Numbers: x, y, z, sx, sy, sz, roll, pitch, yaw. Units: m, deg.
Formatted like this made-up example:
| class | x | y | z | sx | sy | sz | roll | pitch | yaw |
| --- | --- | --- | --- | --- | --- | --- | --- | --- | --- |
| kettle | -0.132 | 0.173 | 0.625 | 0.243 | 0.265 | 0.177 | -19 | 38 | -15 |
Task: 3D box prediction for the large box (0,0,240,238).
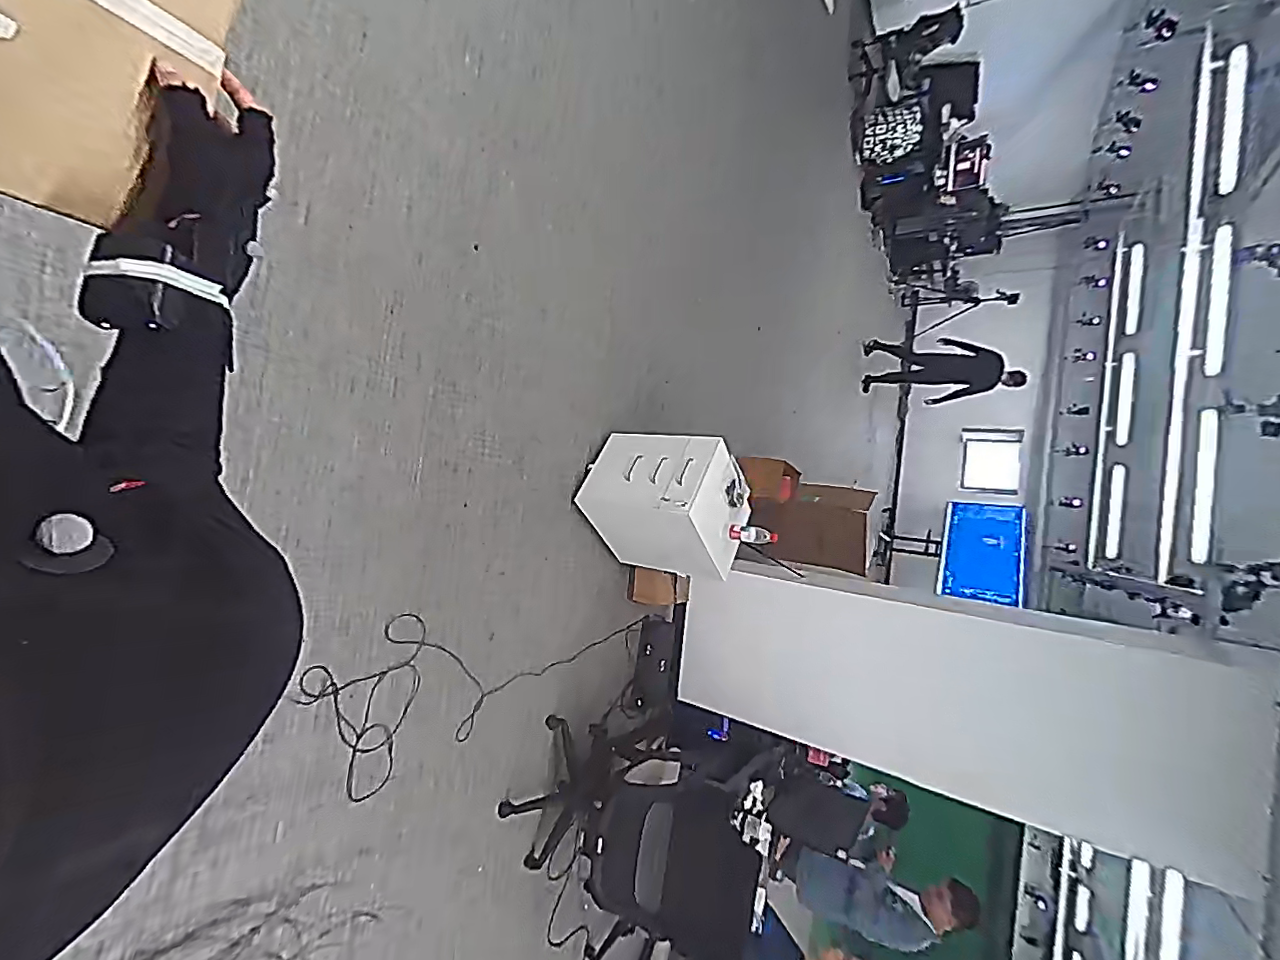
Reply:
| class | x | y | z | sx | sy | sz | roll | pitch | yaw |
| --- | --- | --- | --- | --- | --- | --- | --- | --- | --- |
| large box | -0.566 | -0.418 | 0.348 | 0.408 | 0.320 | 0.320 | 9 | 105 | -61 |
